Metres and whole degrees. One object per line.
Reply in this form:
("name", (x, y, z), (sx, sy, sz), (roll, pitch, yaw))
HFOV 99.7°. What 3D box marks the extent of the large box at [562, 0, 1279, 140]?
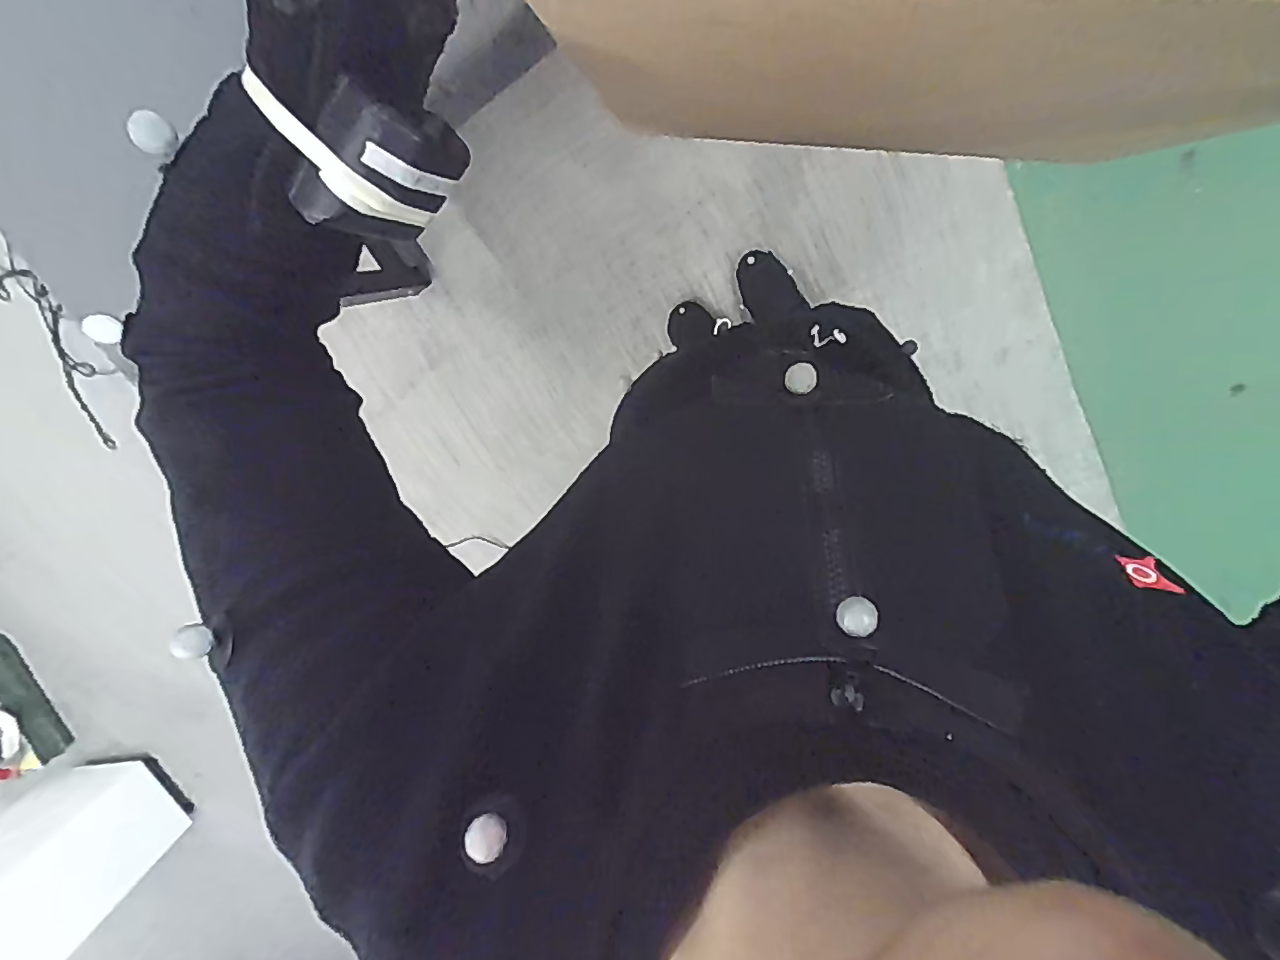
("large box", (0.172, -0.374, 0.258), (0.408, 0.320, 0.320), (6, 114, 4))
